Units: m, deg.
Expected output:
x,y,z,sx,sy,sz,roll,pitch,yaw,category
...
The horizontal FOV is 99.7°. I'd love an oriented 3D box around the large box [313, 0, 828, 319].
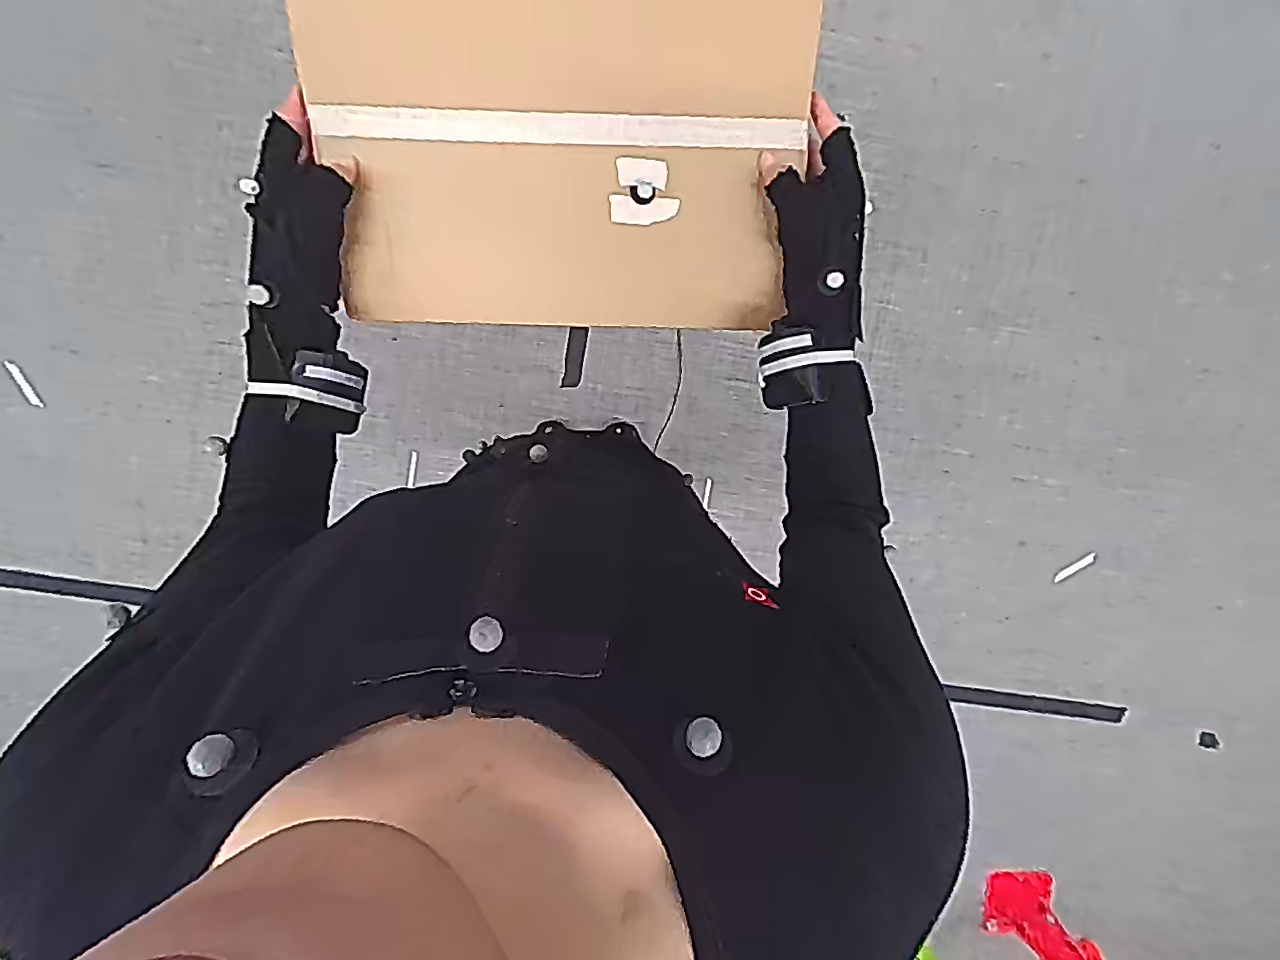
x,y,z,sx,sy,sz,roll,pitch,yaw,category
-0.060,-0.352,0.584,0.408,0.320,0.320,1,113,-3,large box
